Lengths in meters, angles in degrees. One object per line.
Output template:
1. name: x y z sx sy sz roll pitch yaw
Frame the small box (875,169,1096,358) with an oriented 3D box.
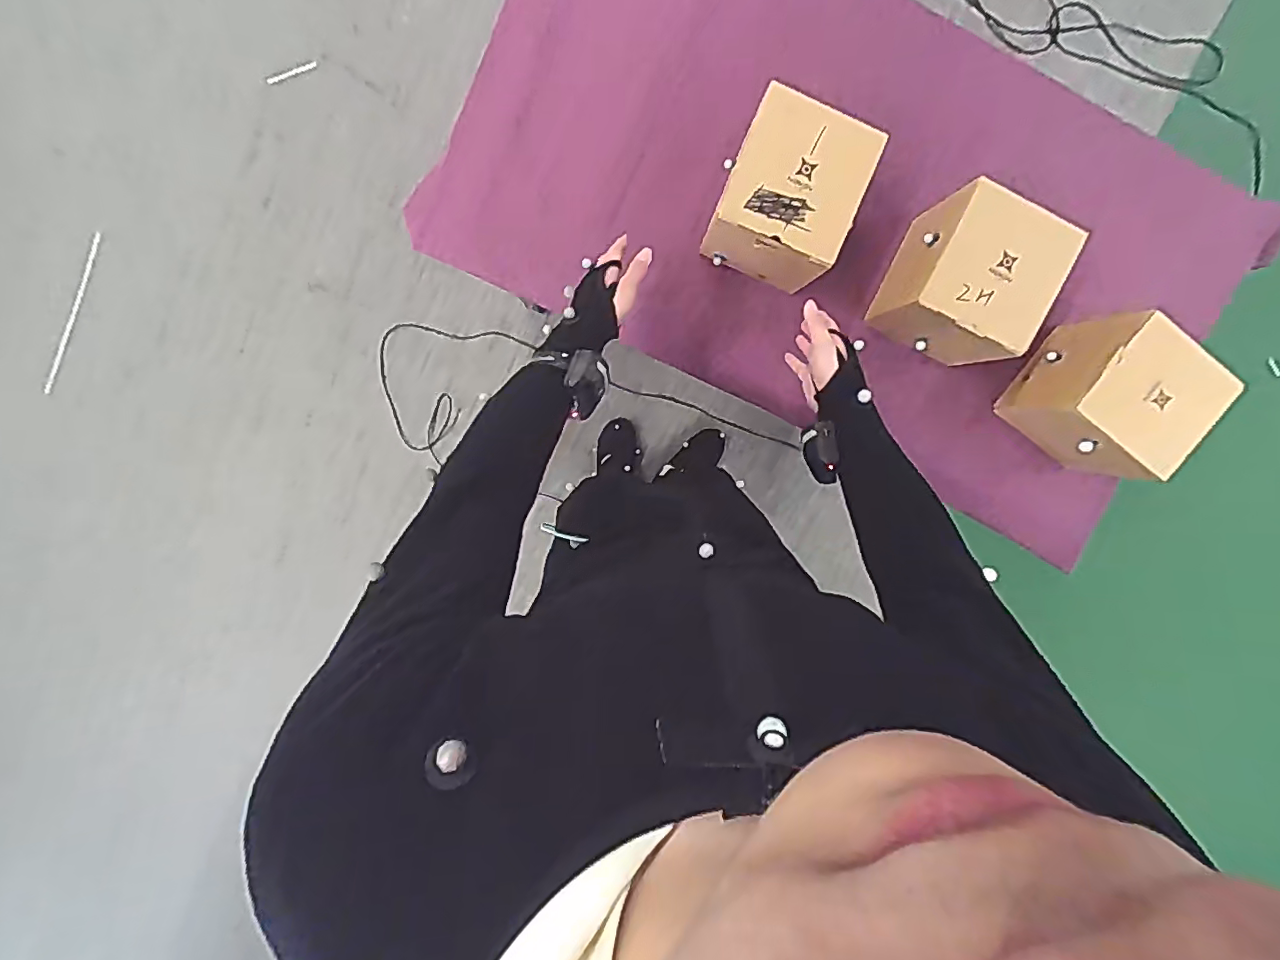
1. small box: 0.470 -0.291 0.769 0.168 0.176 0.179 26 97 -4

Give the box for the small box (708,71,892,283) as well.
1. small box: 0.204 -0.397 0.748 0.168 0.176 0.179 22 97 -5

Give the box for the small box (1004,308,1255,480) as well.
1. small box: 0.702 -0.125 0.799 0.179 0.176 0.168 36 97 -4
